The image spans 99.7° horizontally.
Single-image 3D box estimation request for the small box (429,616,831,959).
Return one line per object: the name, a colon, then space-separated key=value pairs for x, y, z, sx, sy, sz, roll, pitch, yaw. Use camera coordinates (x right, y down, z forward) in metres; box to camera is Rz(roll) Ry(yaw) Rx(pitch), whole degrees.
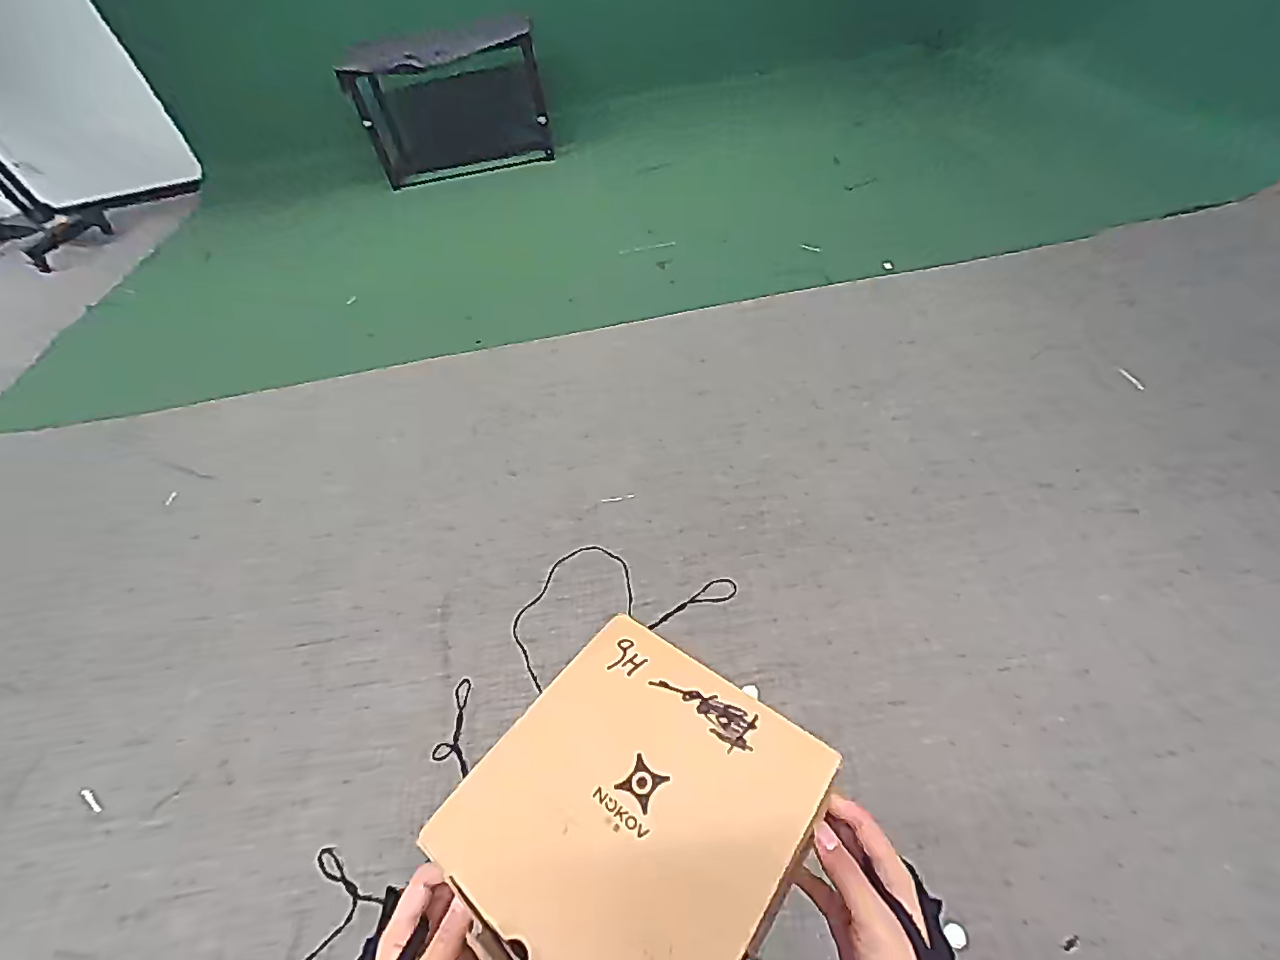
small box: x=0.005 y=0.234 z=0.358 sx=0.168 sy=0.176 sz=0.179 roll=25 pitch=53 yaw=31
